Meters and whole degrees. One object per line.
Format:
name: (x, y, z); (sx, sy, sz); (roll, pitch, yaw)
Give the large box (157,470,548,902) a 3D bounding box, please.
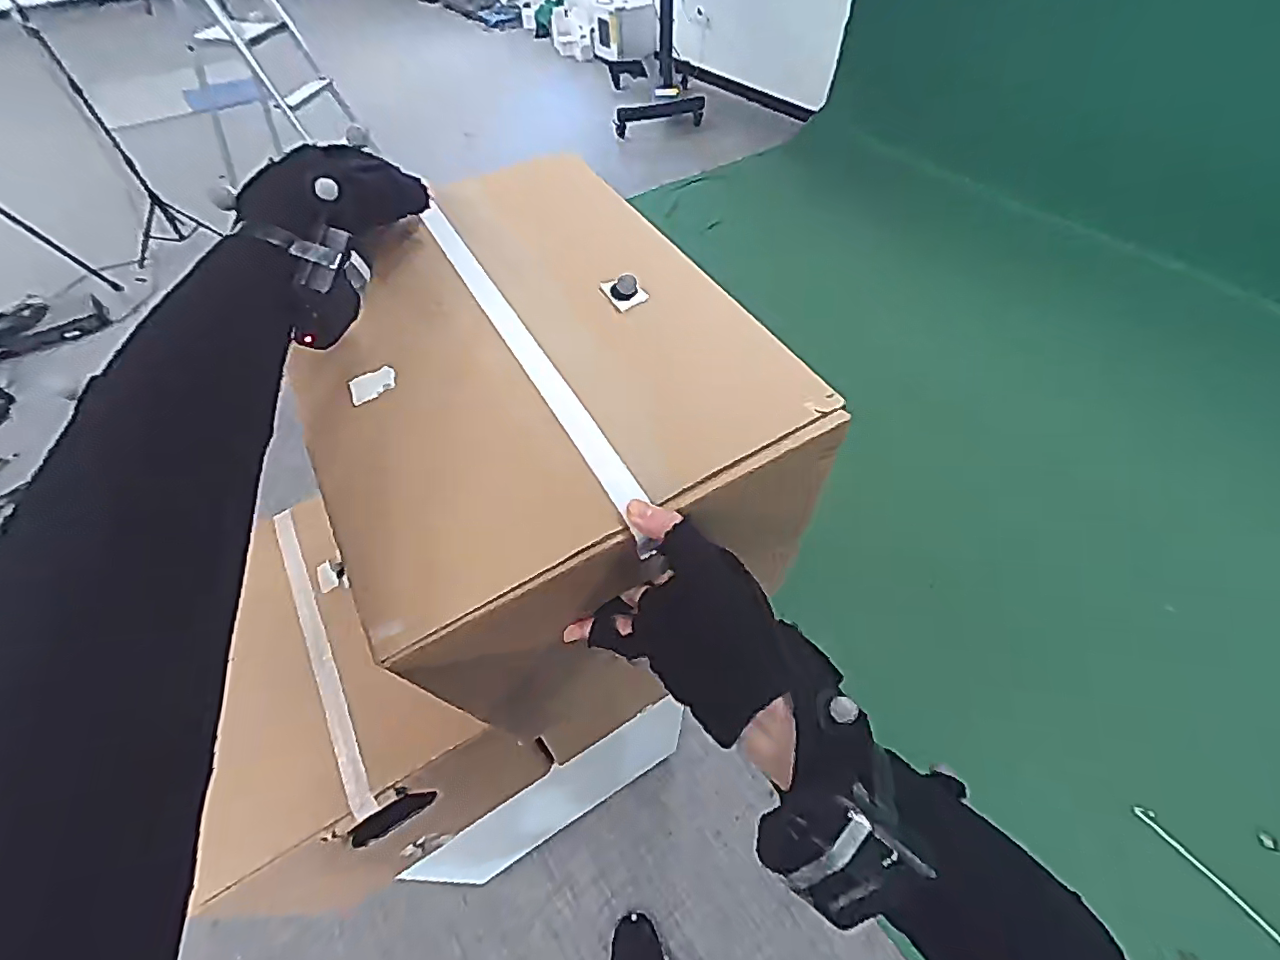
large box: (-0.371, 0.269, 0.744); (0.320, 0.320, 0.408); (-27, 55, -19)
